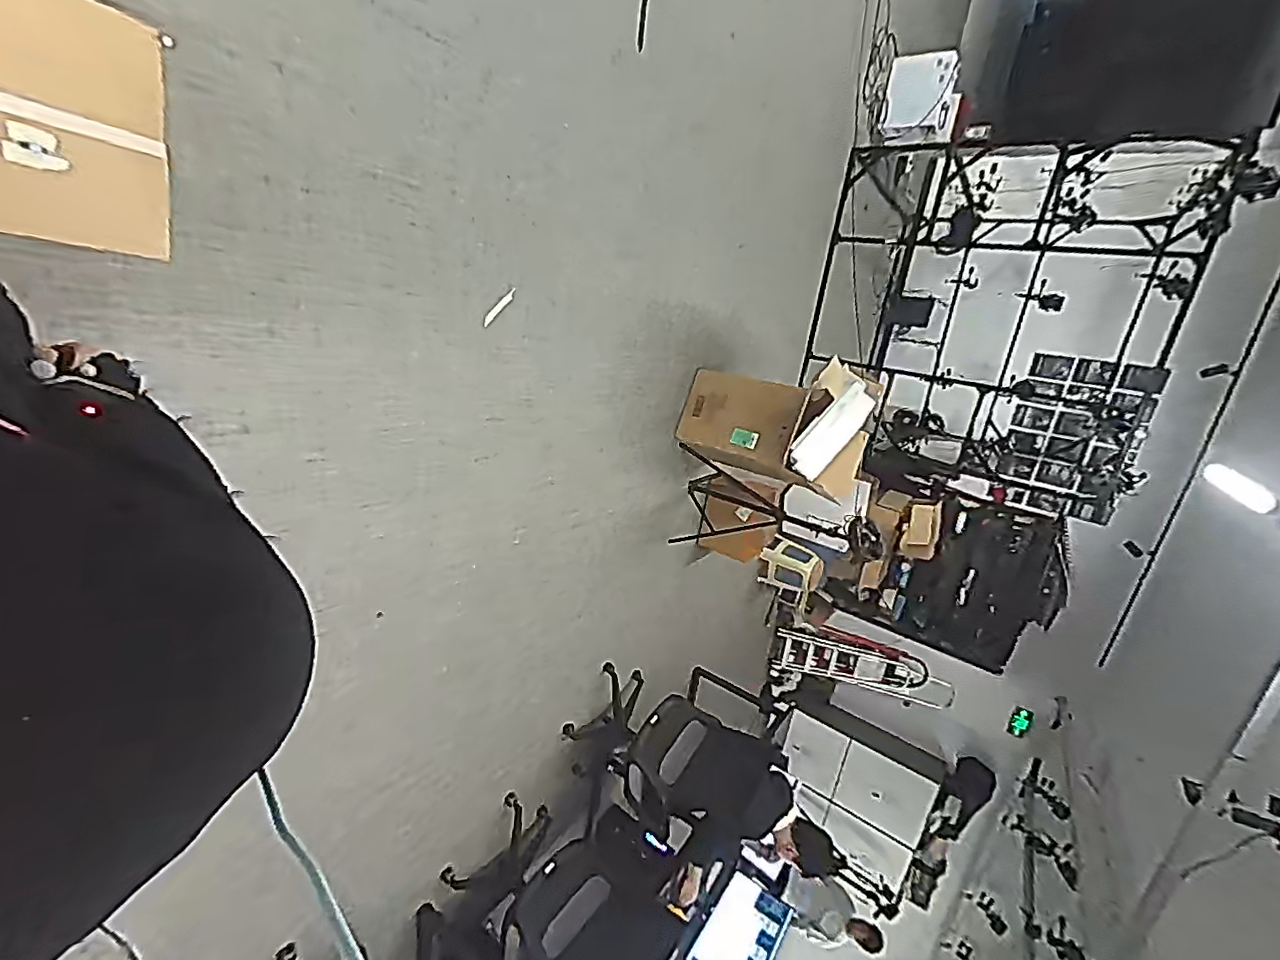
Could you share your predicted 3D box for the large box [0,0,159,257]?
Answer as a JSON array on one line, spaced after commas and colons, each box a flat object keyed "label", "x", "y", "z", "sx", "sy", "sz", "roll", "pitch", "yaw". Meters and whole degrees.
[{"label": "large box", "x": -0.950, "y": -0.503, "z": 0.706, "sx": 0.408, "sy": 0.320, "sz": 0.320, "roll": -12, "pitch": 117, "yaw": -57}]
